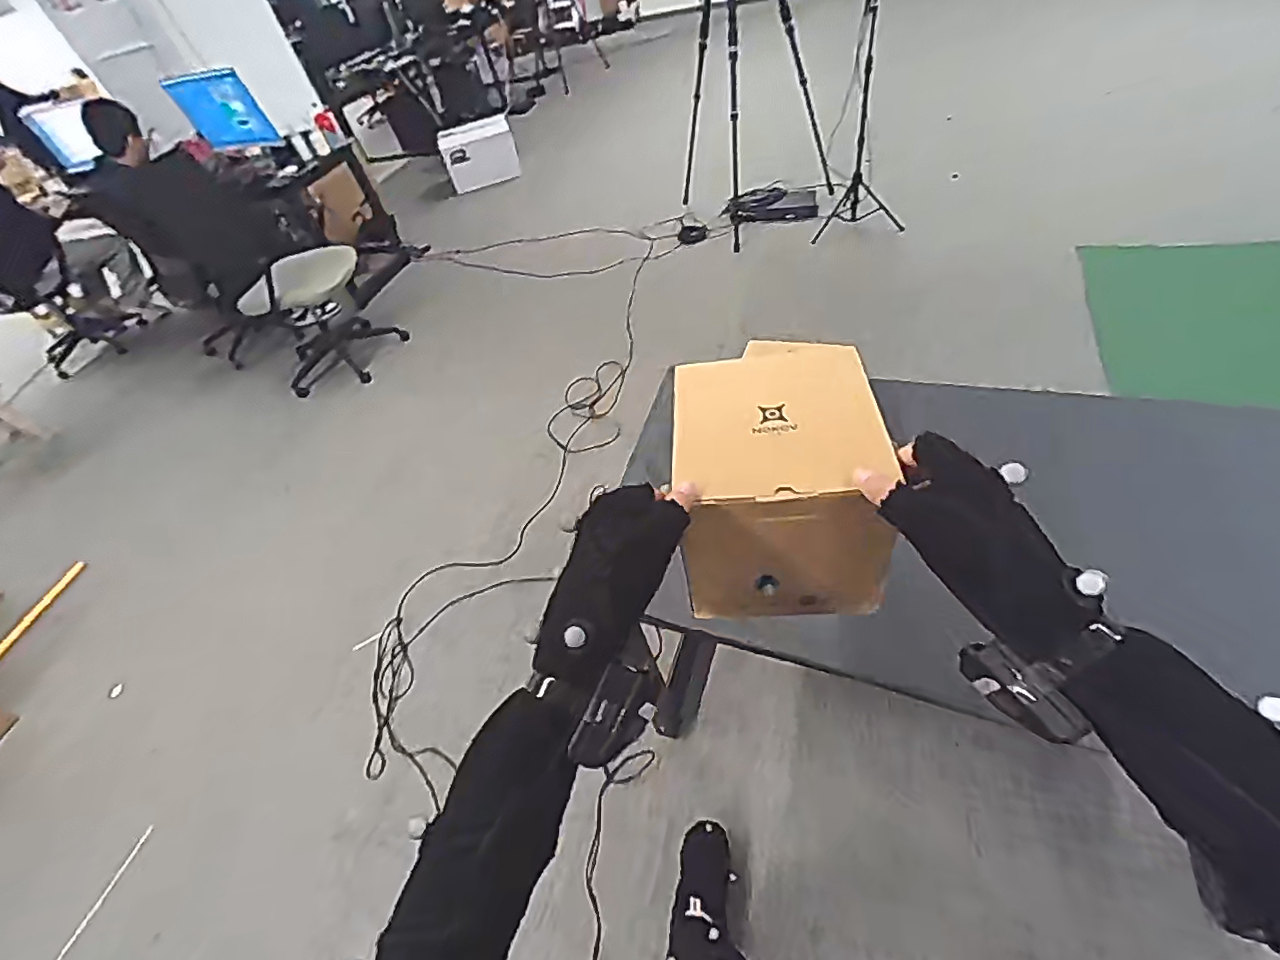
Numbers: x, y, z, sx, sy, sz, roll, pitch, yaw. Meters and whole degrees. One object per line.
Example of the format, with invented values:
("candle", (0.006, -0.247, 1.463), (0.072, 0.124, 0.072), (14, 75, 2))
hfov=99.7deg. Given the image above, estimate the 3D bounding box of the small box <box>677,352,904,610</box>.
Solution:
("small box", (0.127, 0.004, 0.510), (0.168, 0.176, 0.179), (-4, 46, 10))
